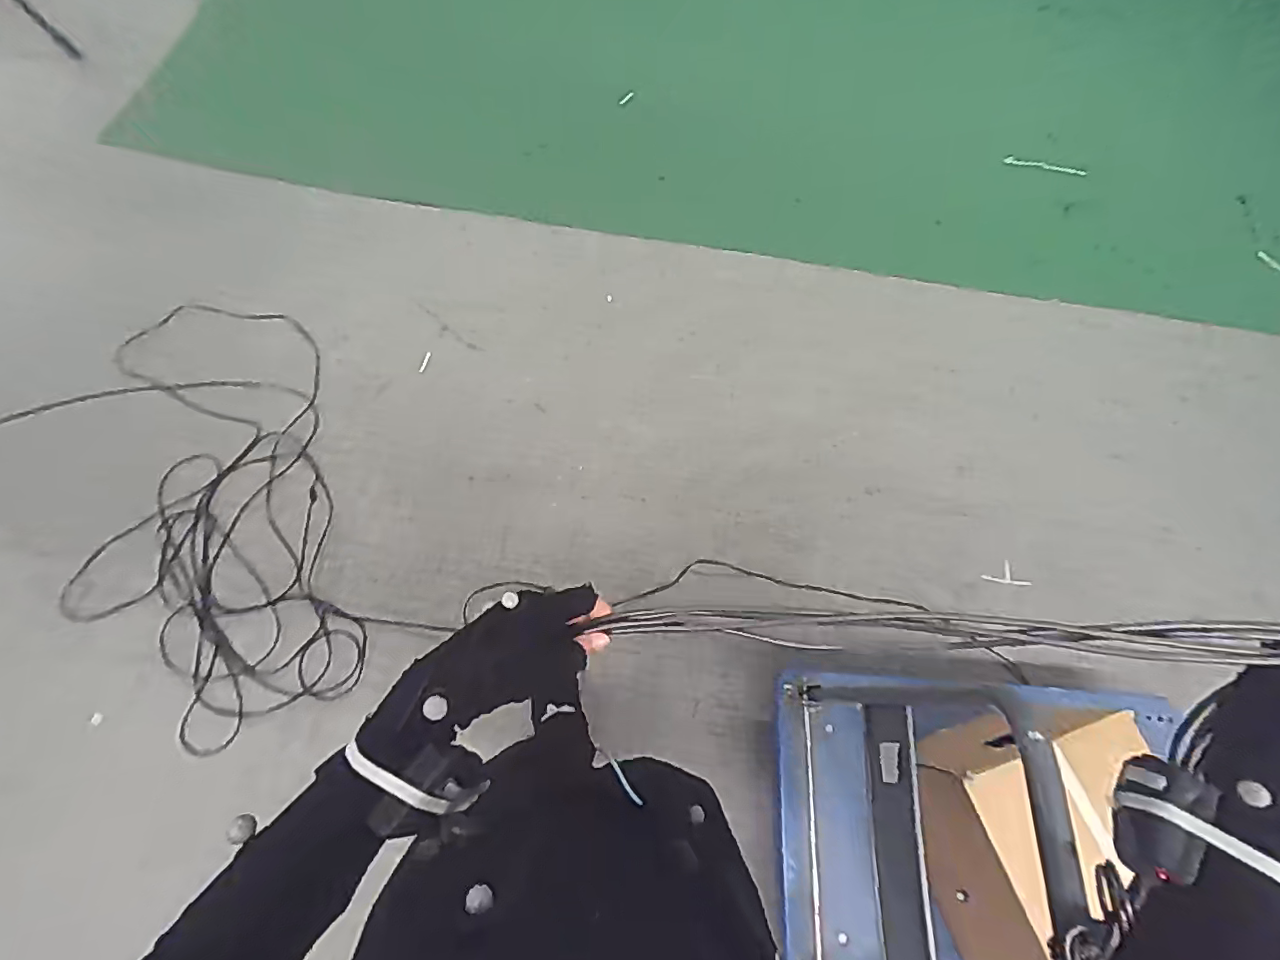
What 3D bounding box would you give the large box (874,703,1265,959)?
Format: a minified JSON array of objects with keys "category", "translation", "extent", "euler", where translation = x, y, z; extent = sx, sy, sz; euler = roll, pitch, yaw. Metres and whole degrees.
[{"category":"large box","translation":[0.692,0.645,0.943],"extent":[0.320,0.320,0.408],"euler":[-16,69,-9]}]
